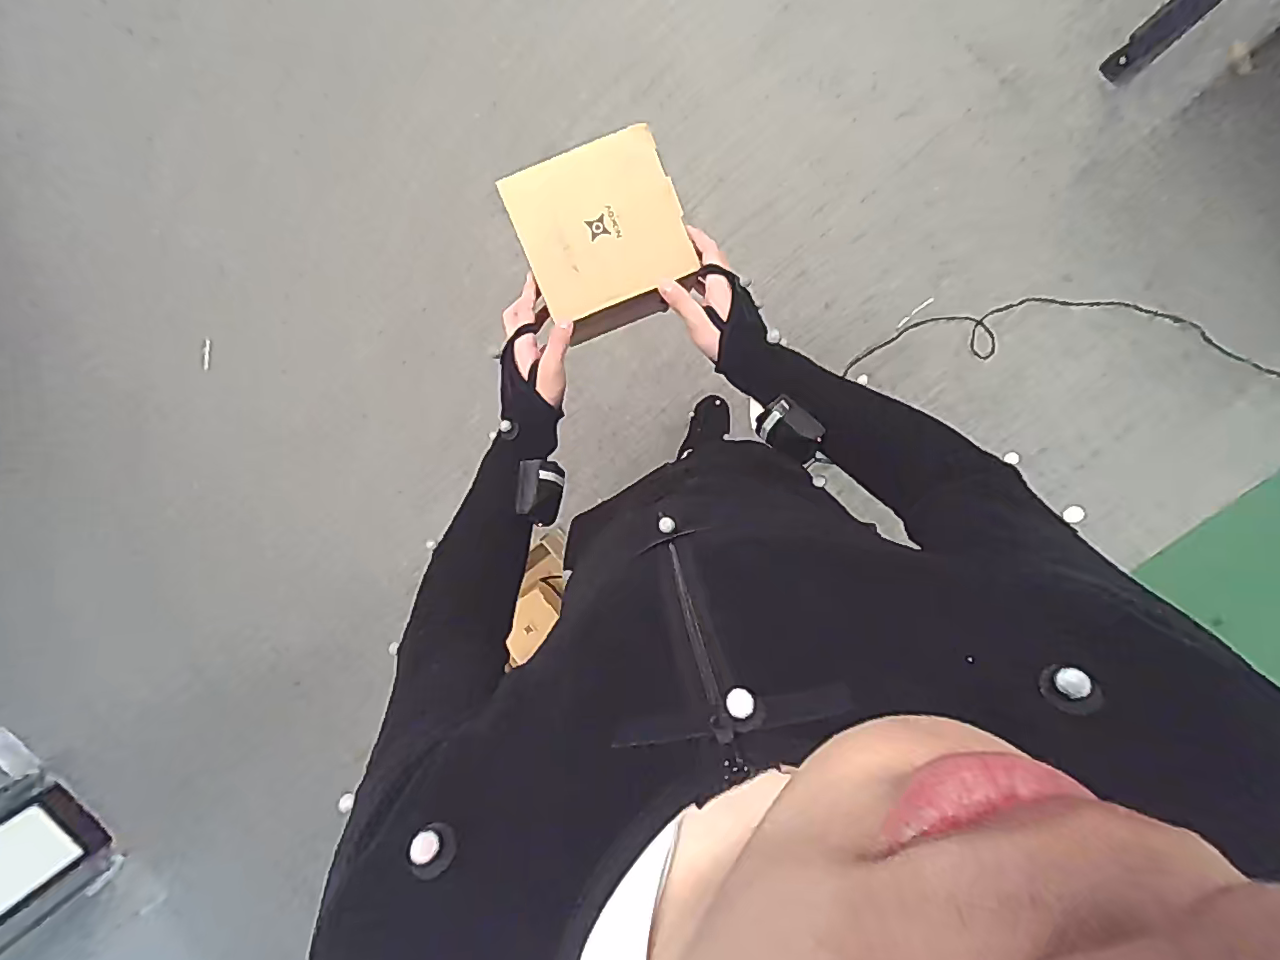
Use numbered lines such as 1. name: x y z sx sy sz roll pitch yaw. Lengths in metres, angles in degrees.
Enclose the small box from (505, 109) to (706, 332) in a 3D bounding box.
1. small box: -0.039 -0.294 0.653 0.179 0.176 0.168 -21 97 1
